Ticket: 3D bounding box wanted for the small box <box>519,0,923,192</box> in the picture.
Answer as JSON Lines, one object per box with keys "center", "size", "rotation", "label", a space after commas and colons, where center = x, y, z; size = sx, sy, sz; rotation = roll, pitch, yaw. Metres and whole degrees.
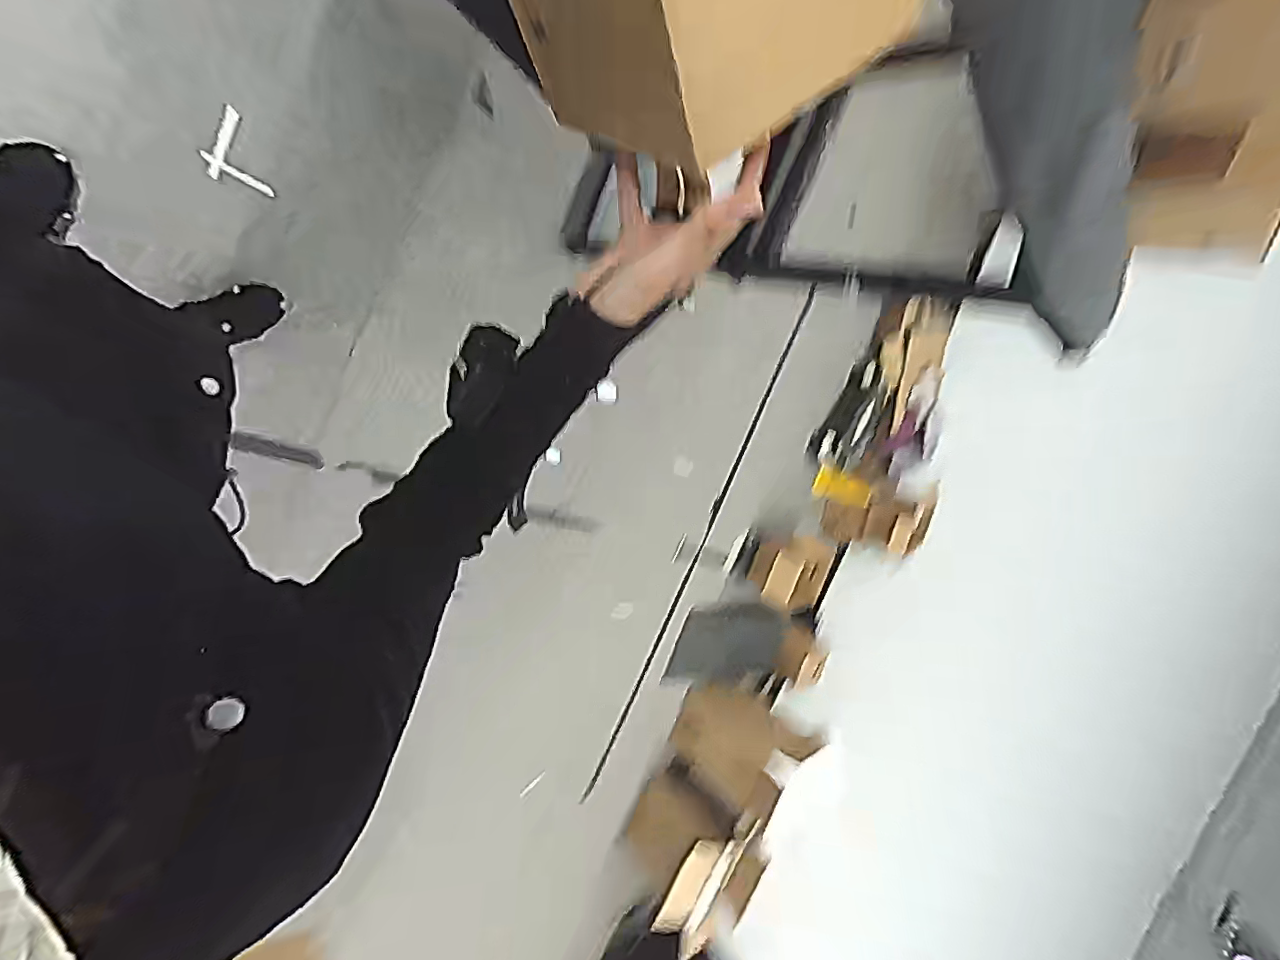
{"center": [0.031, -0.297, 0.298], "size": [0.179, 0.176, 0.168], "rotation": [-38, 142, -9], "label": "small box"}
